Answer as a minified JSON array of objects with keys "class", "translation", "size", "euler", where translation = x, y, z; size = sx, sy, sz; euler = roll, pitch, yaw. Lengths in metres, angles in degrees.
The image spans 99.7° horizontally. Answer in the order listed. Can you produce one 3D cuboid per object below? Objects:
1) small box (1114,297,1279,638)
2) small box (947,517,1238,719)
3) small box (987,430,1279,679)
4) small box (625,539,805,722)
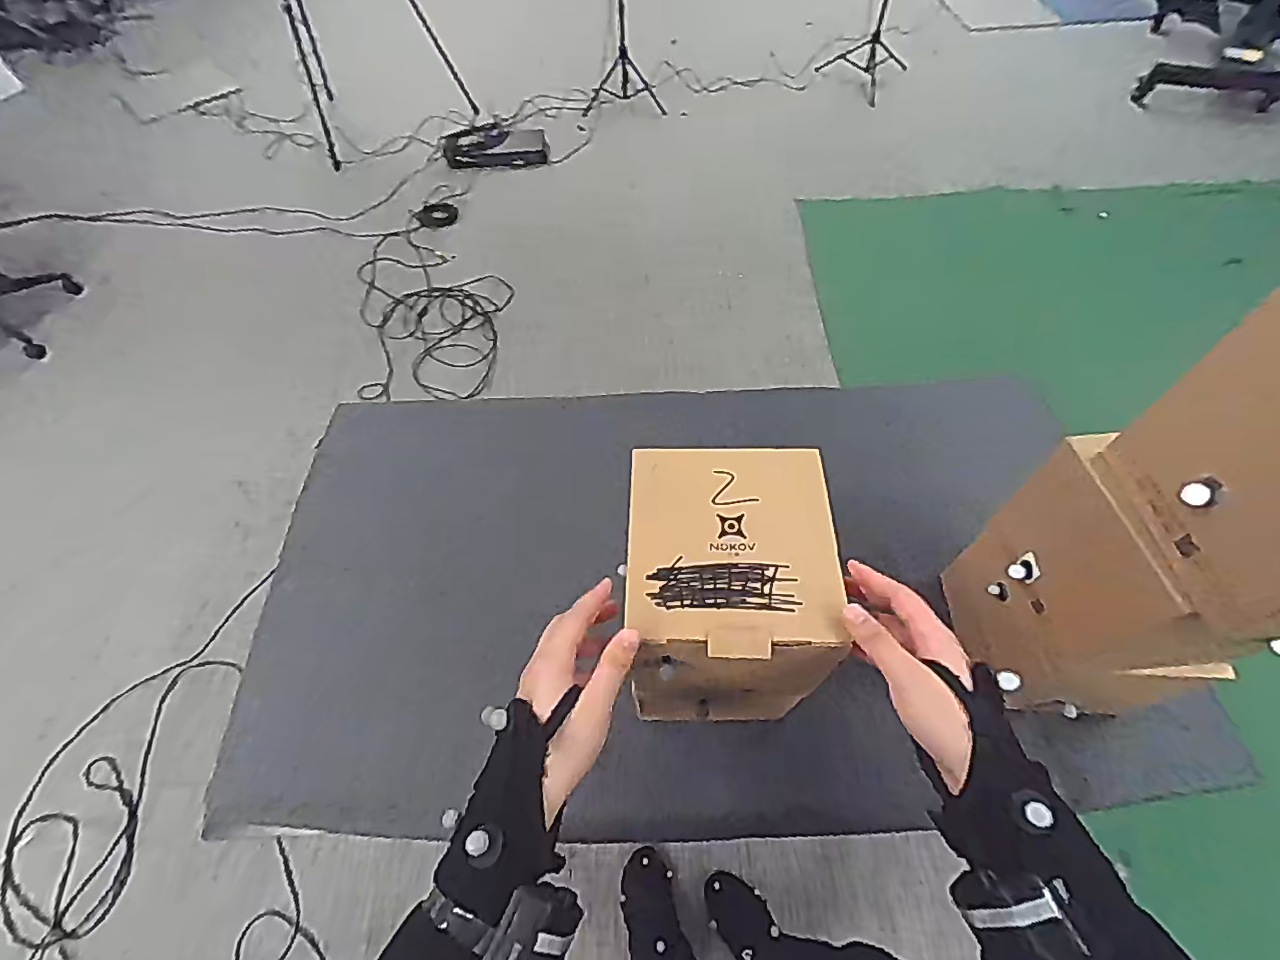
[{"class":"small box","translation":[0.470,-0.007,0.337],"size":[0.179,0.176,0.168],"euler":[-1,54,3]},{"class":"small box","translation":[0.483,0.160,0.619],"size":[0.168,0.176,0.179],"euler":[1,56,5]},{"class":"small box","translation":[0.464,0.069,0.486],"size":[0.179,0.176,0.168],"euler":[-6,54,1]},{"class":"small box","translation":[0.079,0.181,0.630],"size":[0.179,0.176,0.168],"euler":[-2,57,3]}]
